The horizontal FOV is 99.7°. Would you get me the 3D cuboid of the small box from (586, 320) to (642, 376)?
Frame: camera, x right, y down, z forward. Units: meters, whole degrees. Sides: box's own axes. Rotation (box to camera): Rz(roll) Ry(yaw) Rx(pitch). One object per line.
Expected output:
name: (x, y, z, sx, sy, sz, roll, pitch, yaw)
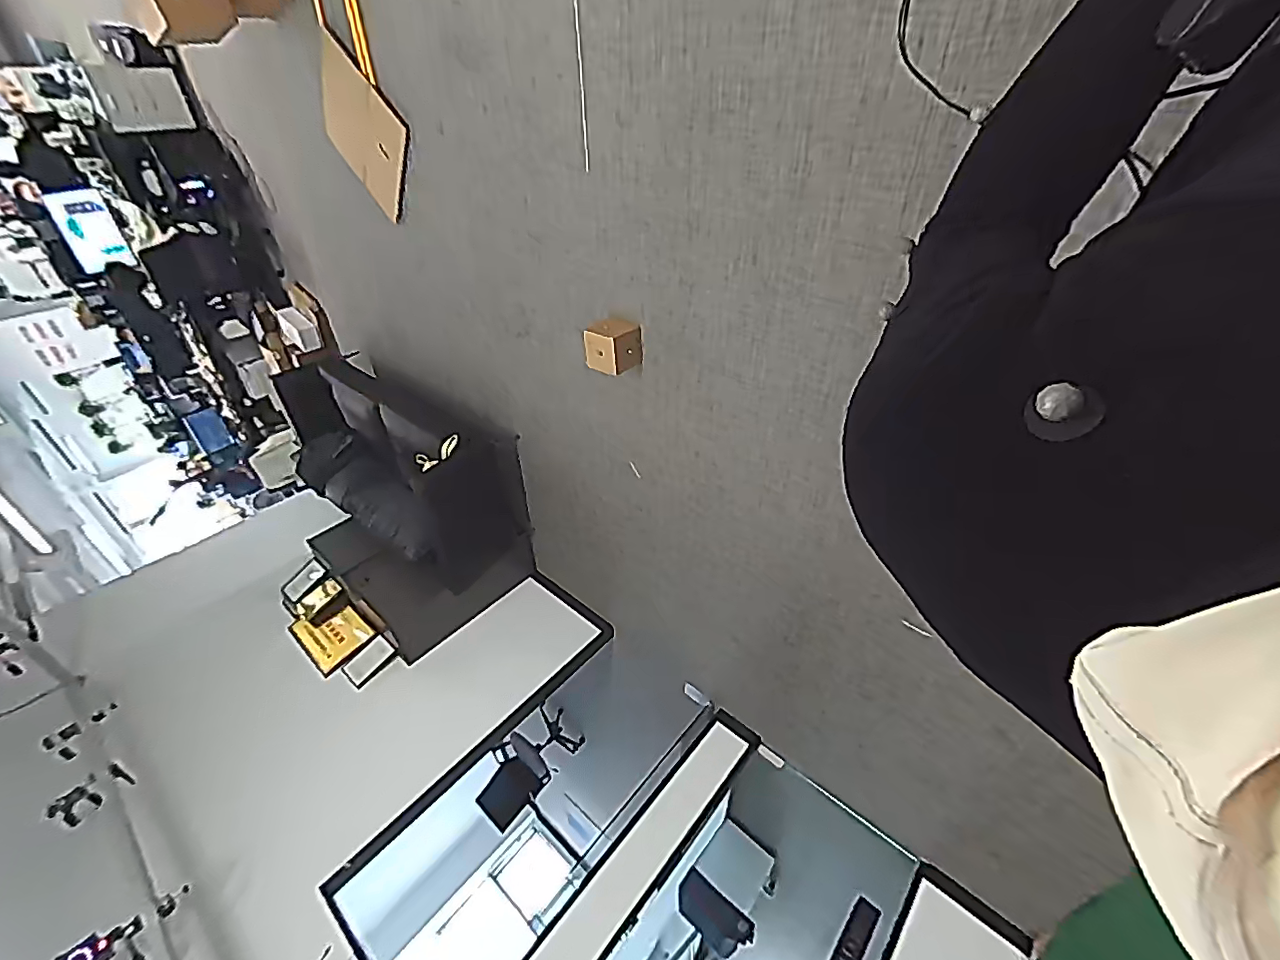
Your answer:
small box: (-0.101, -0.564, 2.284, 0.179, 0.176, 0.168, 25, 134, 34)
